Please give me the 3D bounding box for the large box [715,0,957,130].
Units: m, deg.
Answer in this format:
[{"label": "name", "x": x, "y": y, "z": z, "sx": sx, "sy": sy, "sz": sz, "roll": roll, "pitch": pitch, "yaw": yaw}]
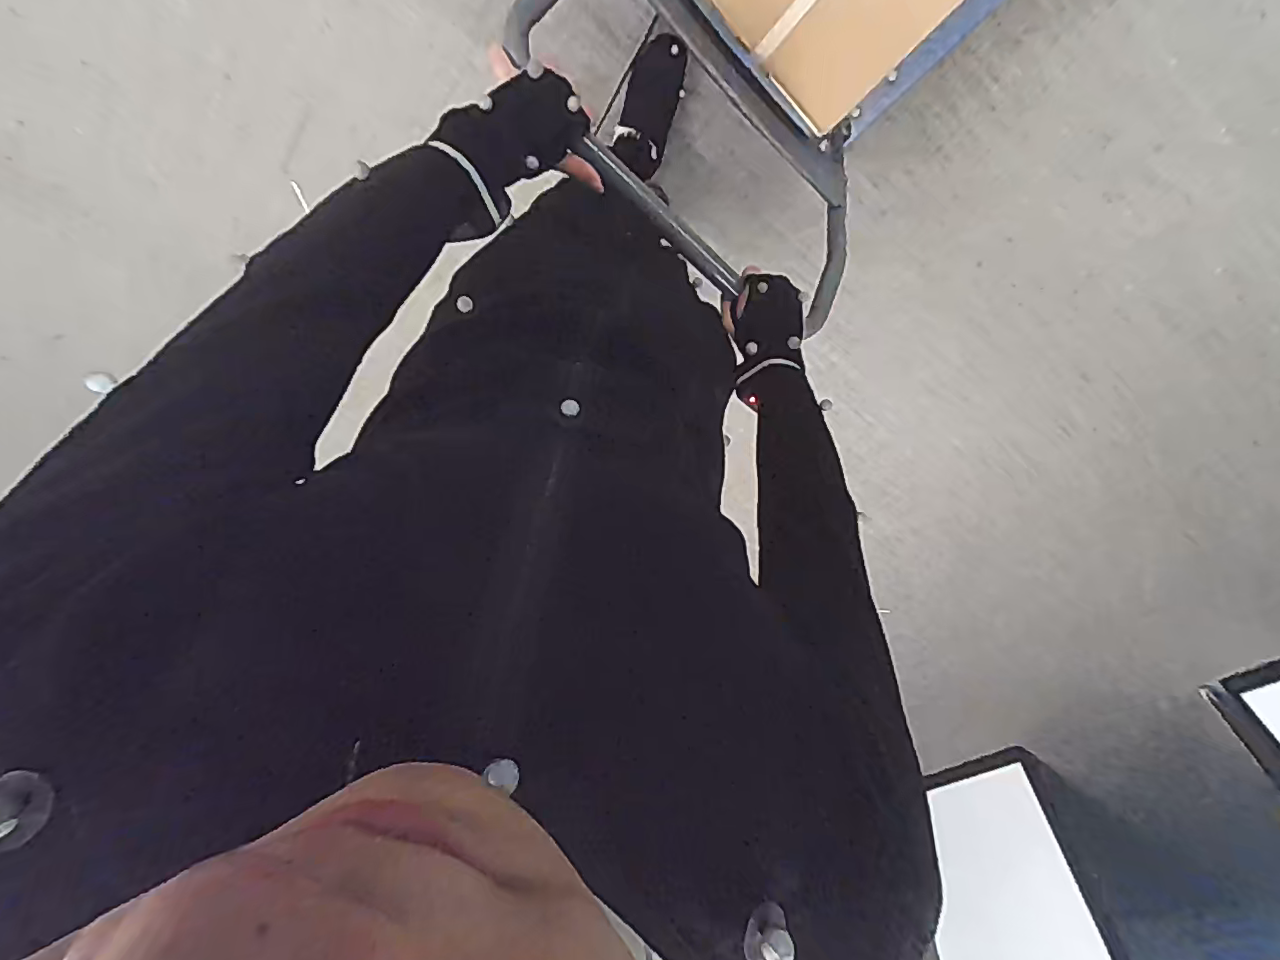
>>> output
[{"label": "large box", "x": 0.324, "y": -0.813, "z": 0.751, "sx": 0.320, "sy": 0.320, "sz": 0.408, "roll": 35, "pitch": 136, "yaw": -22}]
